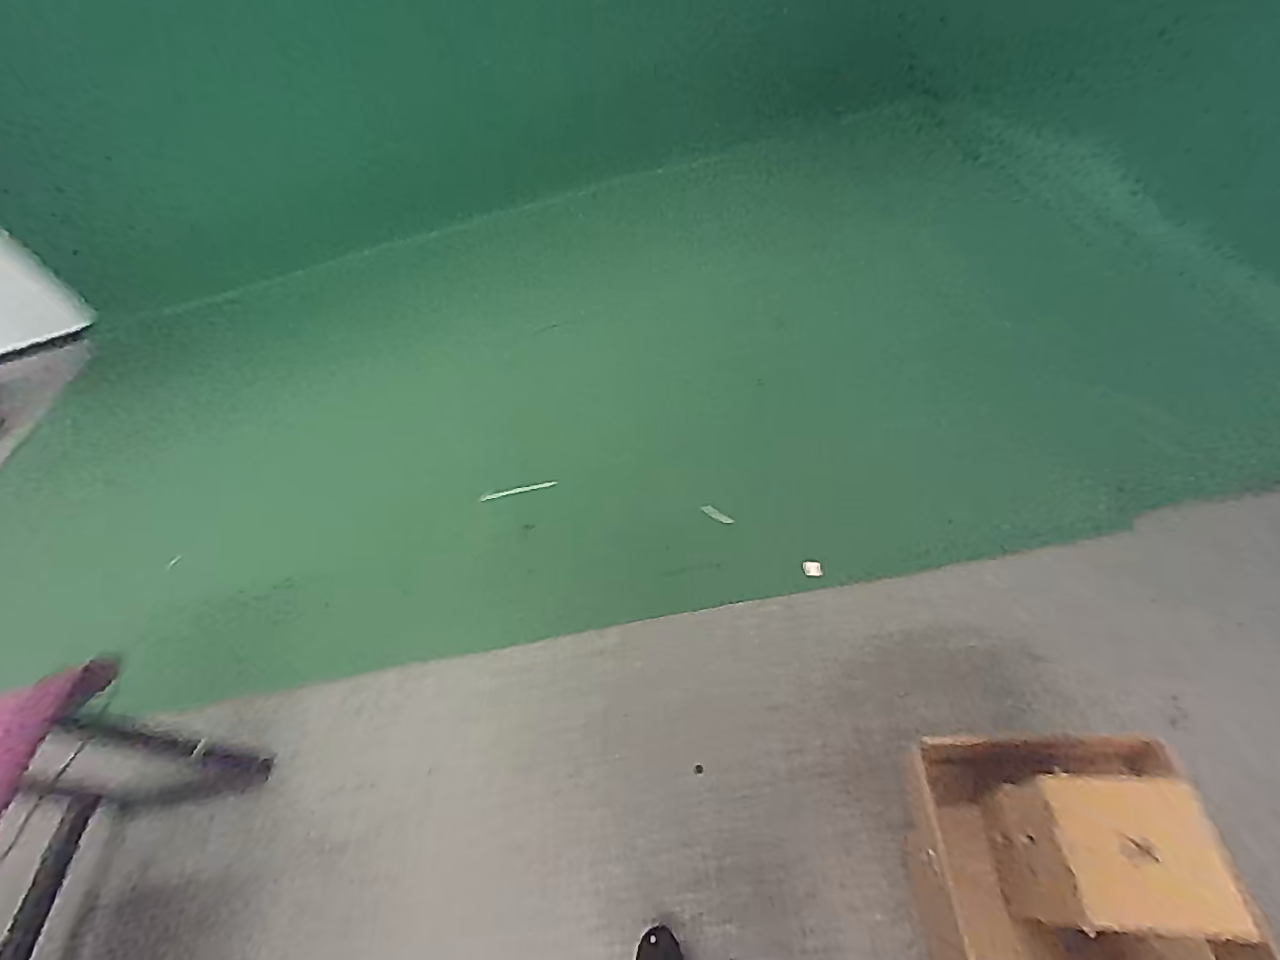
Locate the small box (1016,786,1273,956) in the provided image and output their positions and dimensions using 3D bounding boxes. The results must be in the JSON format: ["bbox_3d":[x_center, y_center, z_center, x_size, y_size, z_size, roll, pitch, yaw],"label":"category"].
[{"bbox_3d":[0.660,0.526,0.740,0.179,0.176,0.168,-6,52,13],"label":"small box"}]

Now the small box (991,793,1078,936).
[{"bbox_3d":[0.695,0.621,0.869,0.168,0.176,0.179,-4,53,14],"label":"small box"}]
